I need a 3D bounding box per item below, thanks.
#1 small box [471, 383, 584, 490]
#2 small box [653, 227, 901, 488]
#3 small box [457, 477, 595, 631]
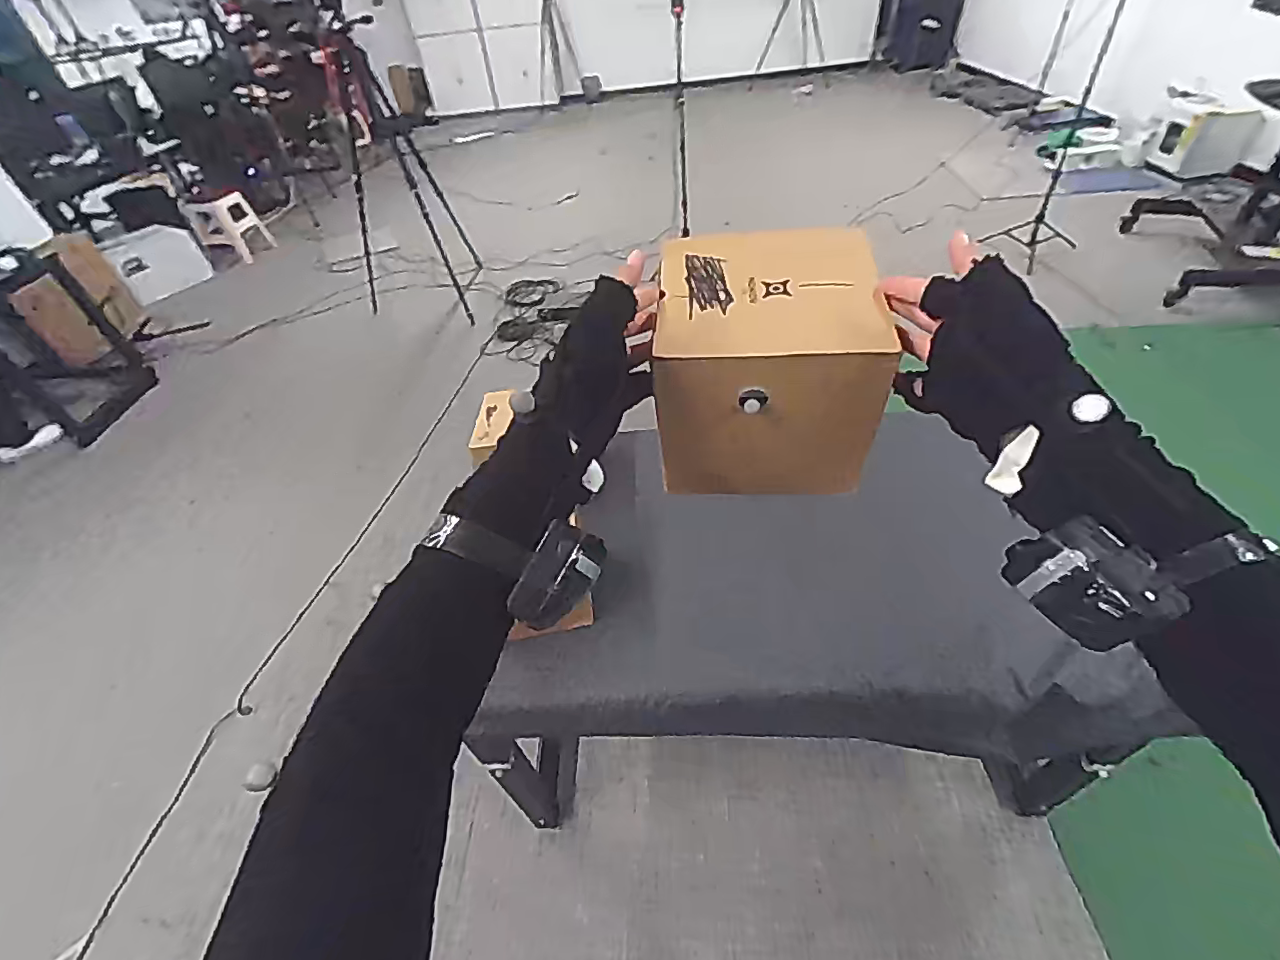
[{"bbox_3d":[-0.208,-0.071,1.061,0.179,0.176,0.168,-3,45,3],"label":"small box"},{"bbox_3d":[0.111,-0.104,0.493,0.179,0.176,0.168,0,54,7],"label":"small box"},{"bbox_3d":[-0.175,0.121,0.864,0.179,0.176,0.168,-9,45,-4],"label":"small box"}]
